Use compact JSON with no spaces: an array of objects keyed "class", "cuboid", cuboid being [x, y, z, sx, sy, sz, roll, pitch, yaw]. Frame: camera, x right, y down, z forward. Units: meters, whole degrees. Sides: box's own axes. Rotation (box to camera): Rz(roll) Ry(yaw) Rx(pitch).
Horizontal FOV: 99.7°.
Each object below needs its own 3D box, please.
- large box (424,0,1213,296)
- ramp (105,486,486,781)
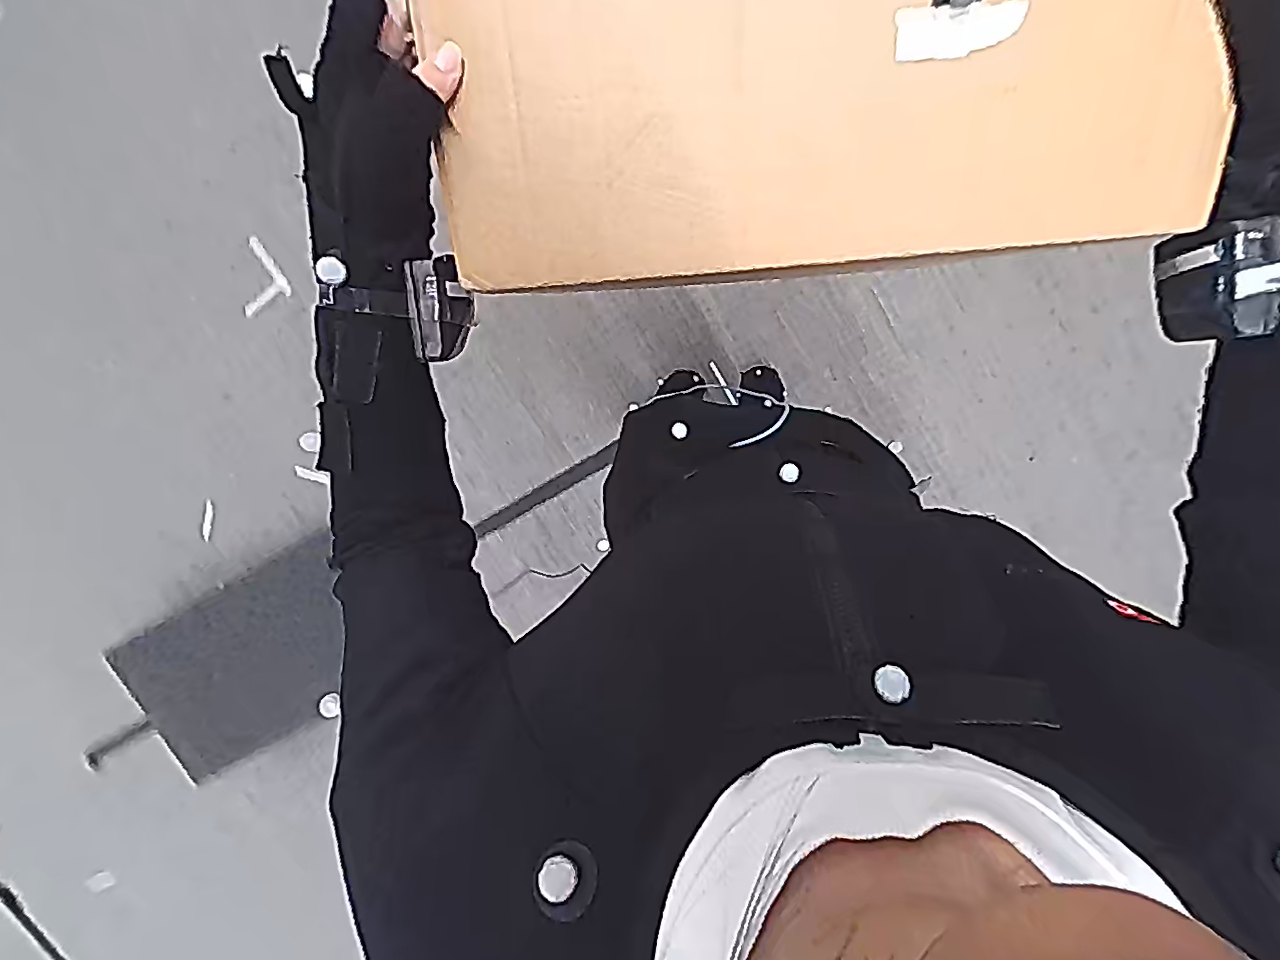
[{"class":"large box","cuboid":[0.087,-0.324,0.409,0.408,0.320,0.320,-4,109,5]},{"class":"ramp","cuboid":[-1.005,0.455,1.597,0.991,0.206,0.509,-29,95,11]}]
